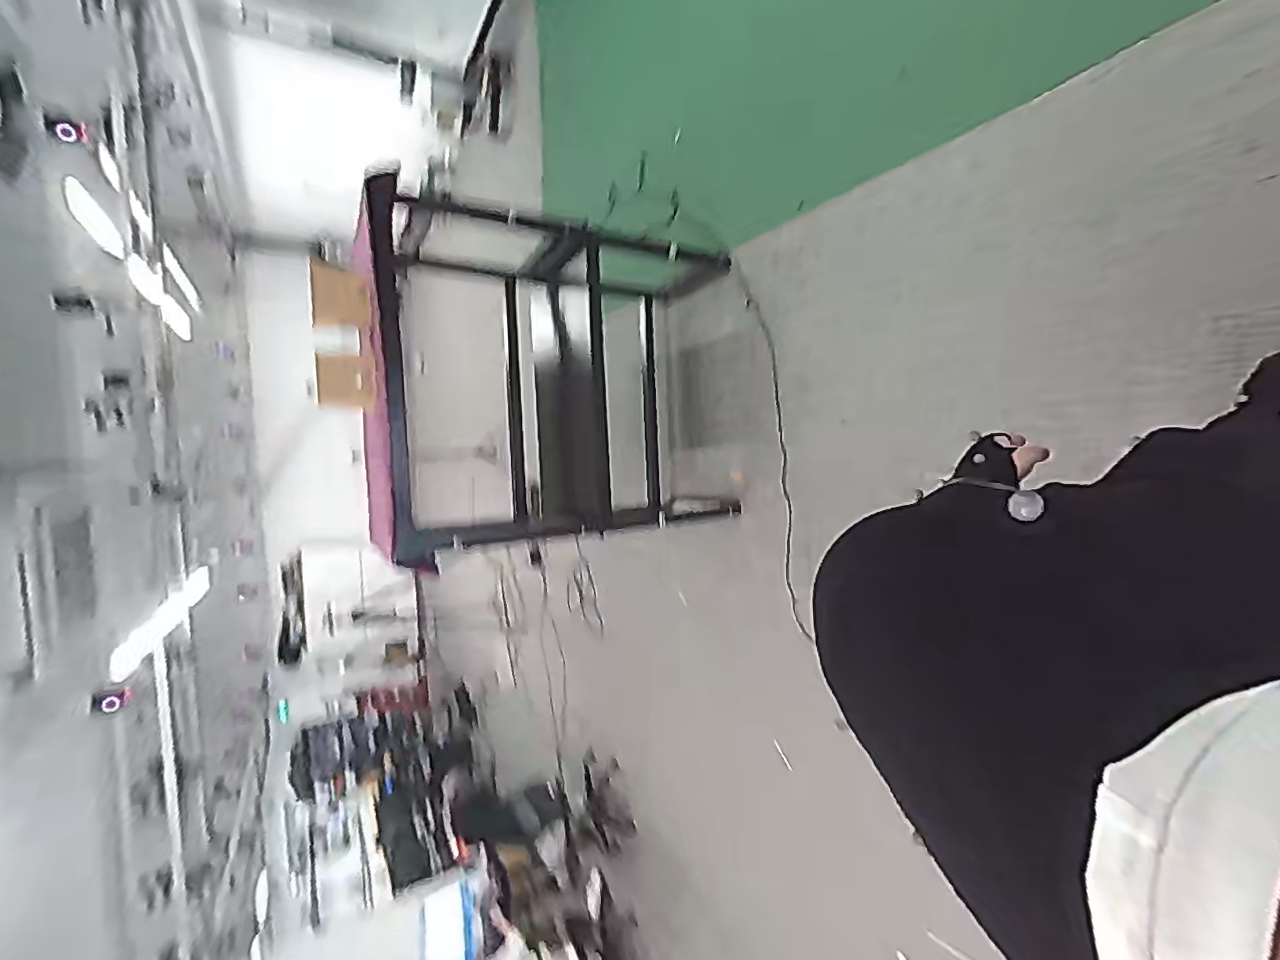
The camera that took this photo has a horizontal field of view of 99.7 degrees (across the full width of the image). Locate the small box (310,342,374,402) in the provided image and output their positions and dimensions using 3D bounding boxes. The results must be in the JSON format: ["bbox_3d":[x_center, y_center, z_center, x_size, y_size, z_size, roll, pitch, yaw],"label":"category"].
[{"bbox_3d":[-0.955,-0.340,1.732,0.179,0.176,0.168,3,96,58],"label":"small box"}]
